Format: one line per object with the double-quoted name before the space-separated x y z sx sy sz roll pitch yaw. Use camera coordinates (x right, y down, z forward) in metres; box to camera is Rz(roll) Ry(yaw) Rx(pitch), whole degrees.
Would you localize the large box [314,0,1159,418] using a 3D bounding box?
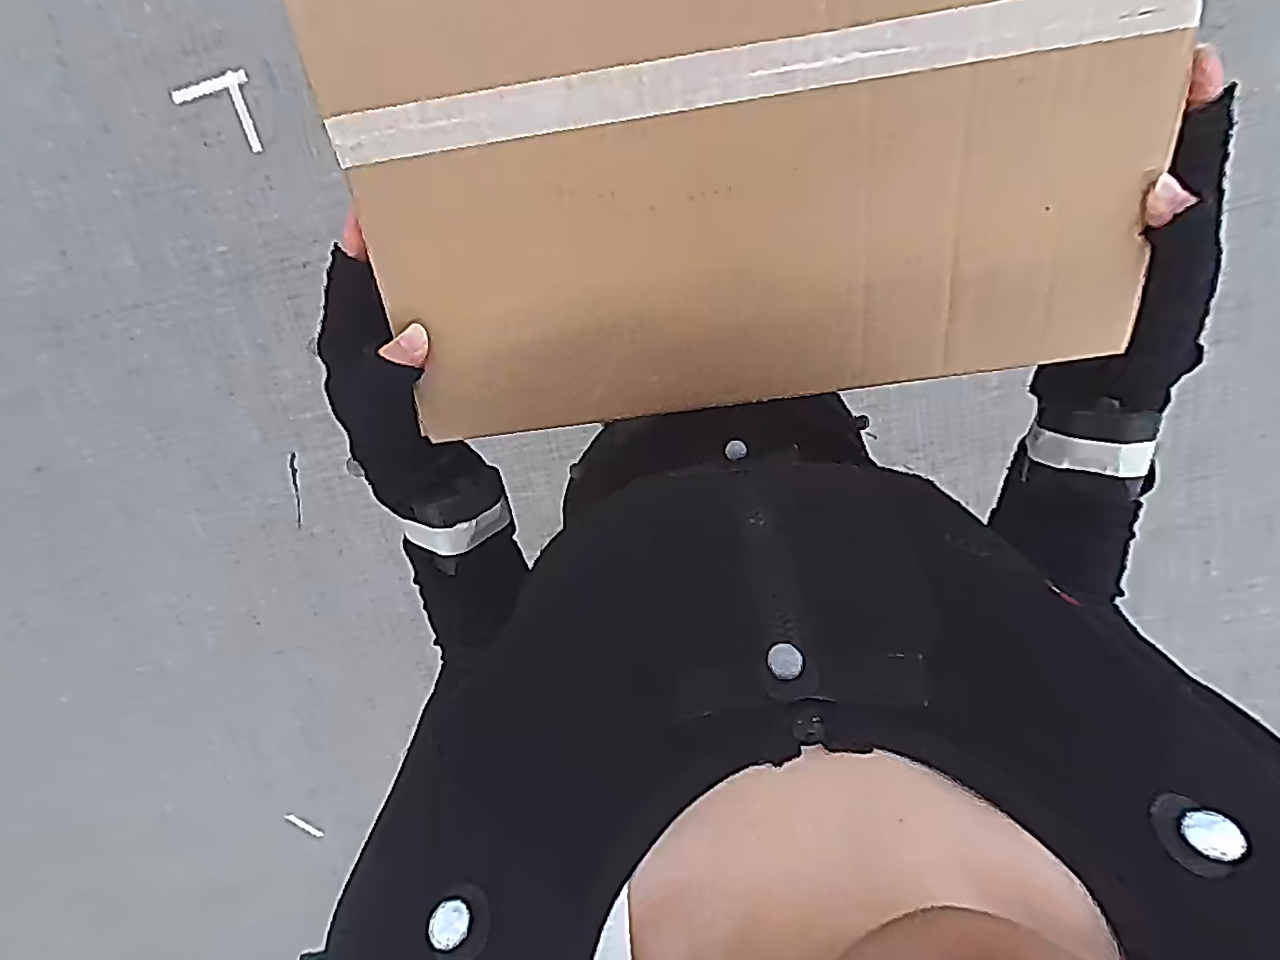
"large box" 0.047 -0.260 0.403 0.408 0.320 0.320 -7 114 3
